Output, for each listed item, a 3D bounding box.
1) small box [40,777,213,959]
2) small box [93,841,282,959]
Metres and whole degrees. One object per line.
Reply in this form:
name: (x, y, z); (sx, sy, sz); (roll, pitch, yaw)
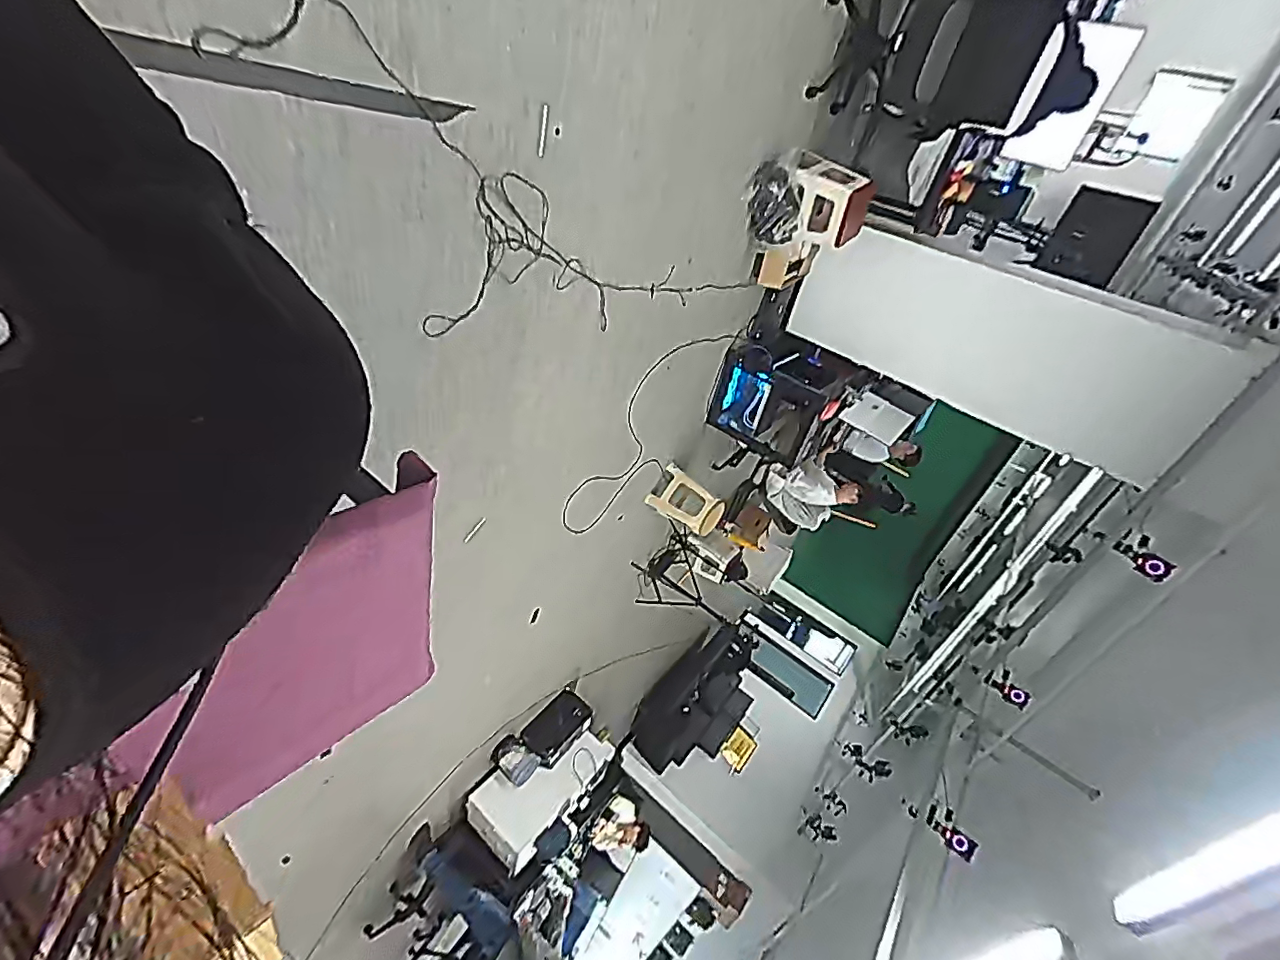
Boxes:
small box: (-0.815, 0.627, 0.881); (0.168, 0.176, 0.179); (-30, 144, -46)
small box: (-0.683, 0.707, 0.827); (0.168, 0.176, 0.179); (-27, 141, -48)
